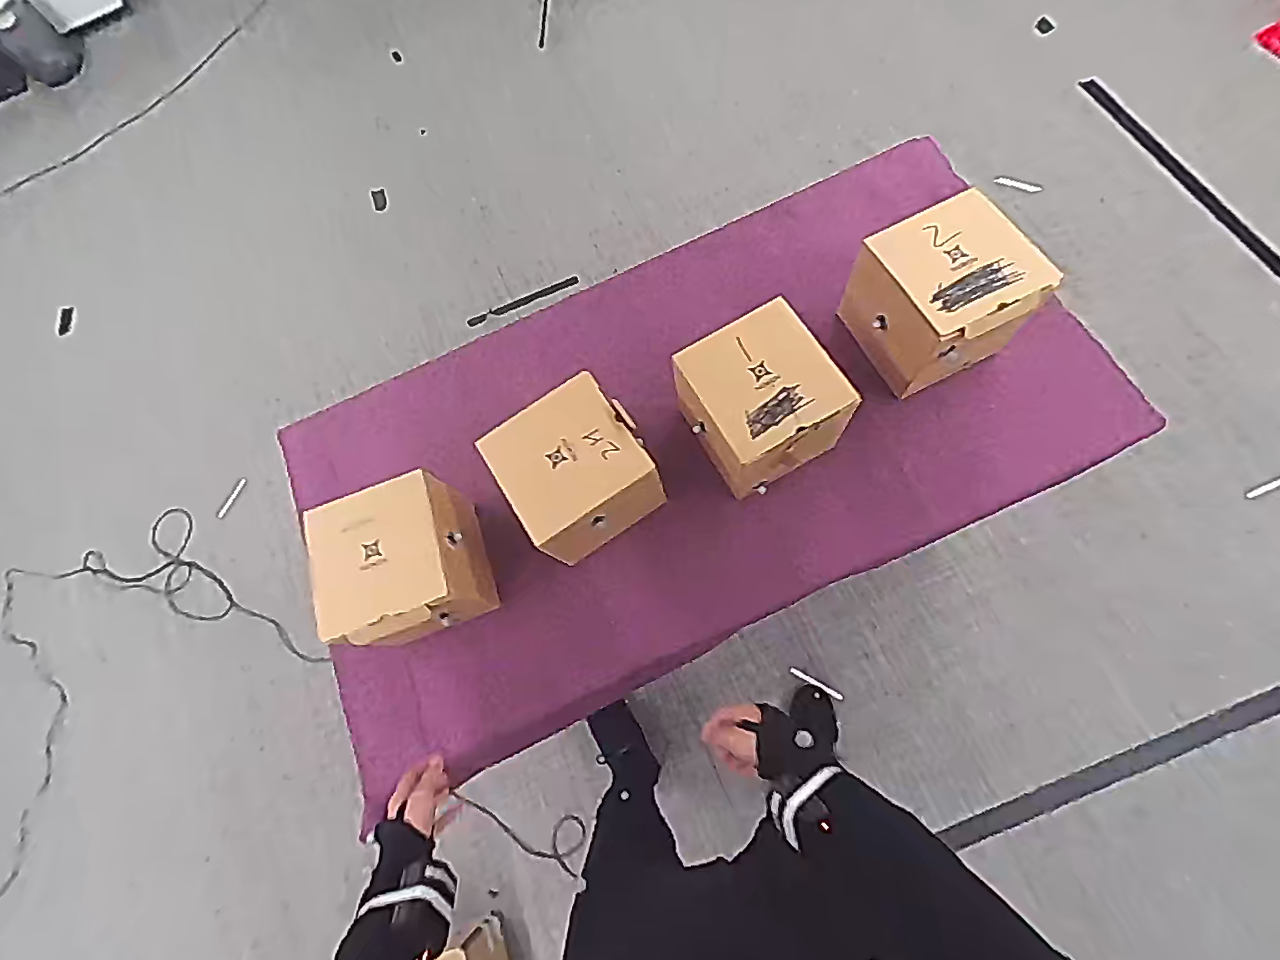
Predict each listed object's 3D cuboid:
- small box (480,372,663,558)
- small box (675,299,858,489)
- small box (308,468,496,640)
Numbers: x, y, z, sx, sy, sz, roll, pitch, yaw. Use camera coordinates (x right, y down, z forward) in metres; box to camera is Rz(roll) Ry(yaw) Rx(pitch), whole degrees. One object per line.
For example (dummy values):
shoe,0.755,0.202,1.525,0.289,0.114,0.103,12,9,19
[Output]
small box,-0.084,-0.010,0.750,0.179,0.176,0.168,-33,72,-3
small box,0.165,-0.103,0.745,0.168,0.176,0.179,-29,71,-2
small box,-0.316,0.109,0.745,0.168,0.176,0.179,-20,71,1
